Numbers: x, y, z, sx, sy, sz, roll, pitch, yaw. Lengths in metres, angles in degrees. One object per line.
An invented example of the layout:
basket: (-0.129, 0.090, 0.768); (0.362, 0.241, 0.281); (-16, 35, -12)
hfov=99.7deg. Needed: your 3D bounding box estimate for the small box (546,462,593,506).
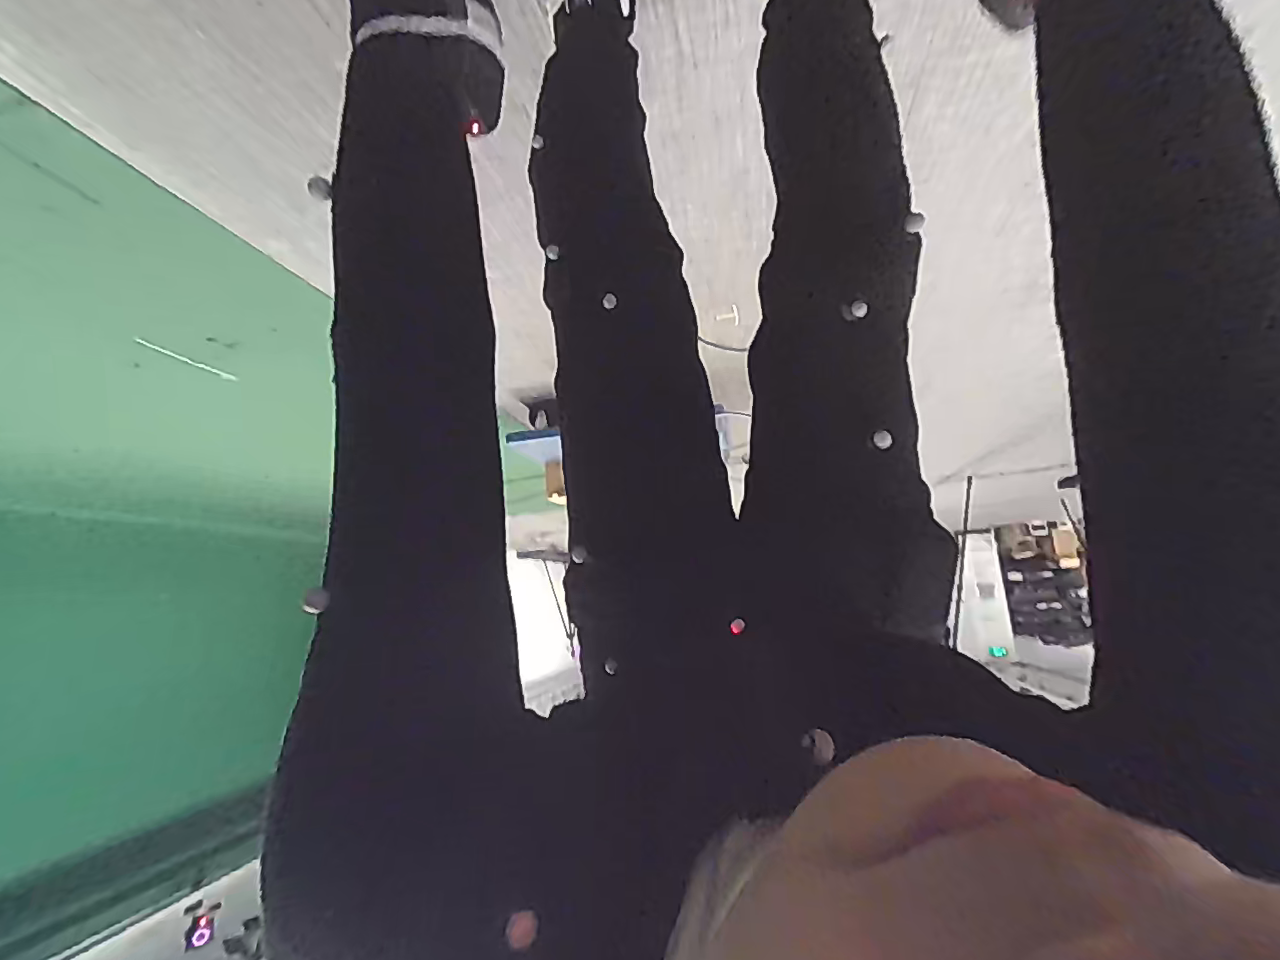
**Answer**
small box: (-0.322, 0.018, 2.473); (0.168, 0.176, 0.179); (-8, 167, 12)
